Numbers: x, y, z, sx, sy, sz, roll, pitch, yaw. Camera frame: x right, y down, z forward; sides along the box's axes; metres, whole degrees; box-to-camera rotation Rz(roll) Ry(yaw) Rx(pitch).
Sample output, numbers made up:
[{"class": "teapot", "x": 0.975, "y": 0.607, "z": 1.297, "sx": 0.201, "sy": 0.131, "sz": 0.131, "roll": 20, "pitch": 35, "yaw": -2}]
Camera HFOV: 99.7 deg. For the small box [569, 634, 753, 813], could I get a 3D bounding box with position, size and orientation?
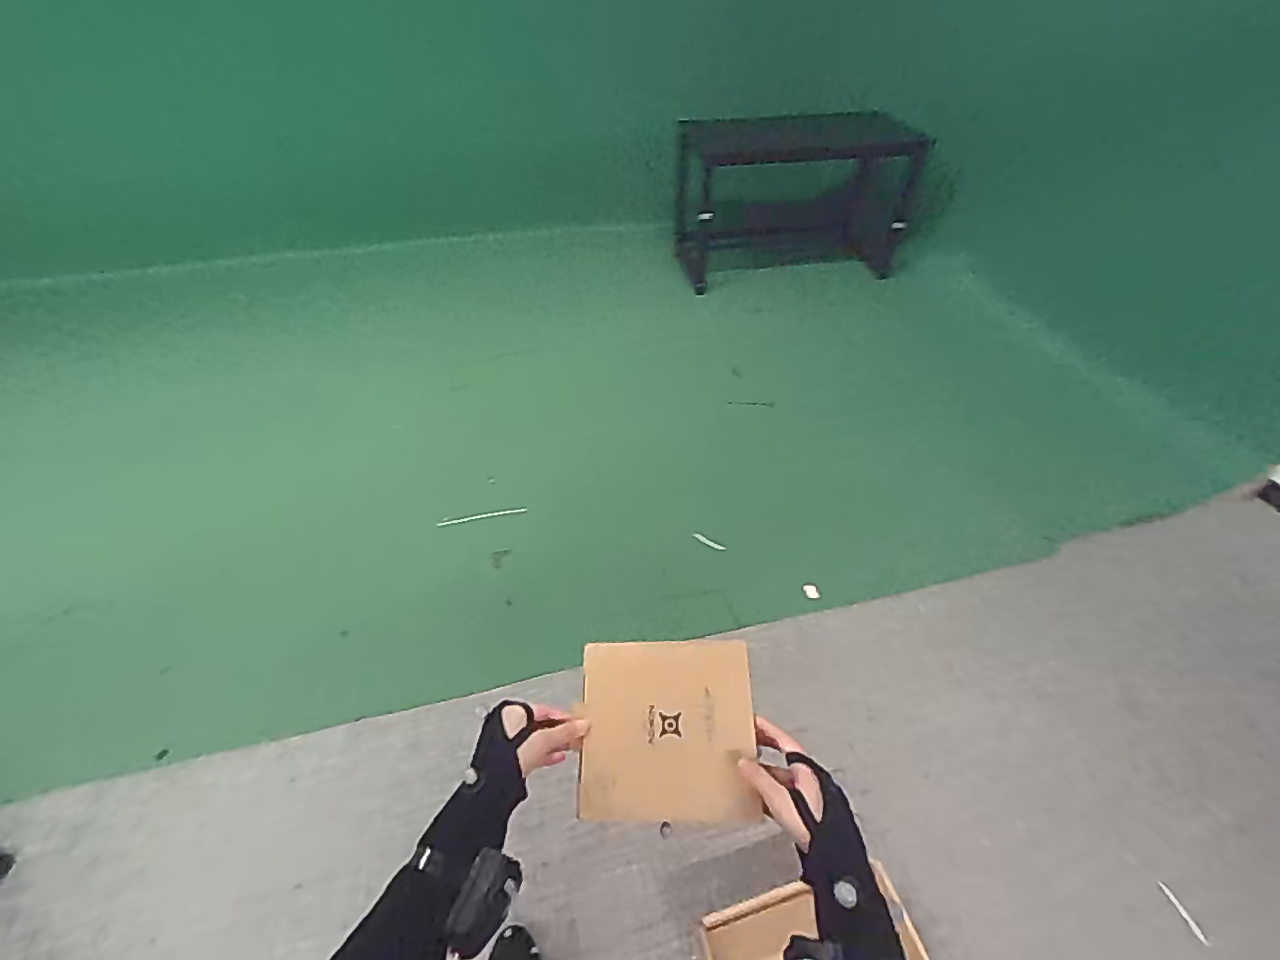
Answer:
[{"class": "small box", "x": 0.028, "y": 0.278, "z": 0.611, "sx": 0.179, "sy": 0.176, "sz": 0.168, "roll": -3, "pitch": 60, "yaw": 5}]
